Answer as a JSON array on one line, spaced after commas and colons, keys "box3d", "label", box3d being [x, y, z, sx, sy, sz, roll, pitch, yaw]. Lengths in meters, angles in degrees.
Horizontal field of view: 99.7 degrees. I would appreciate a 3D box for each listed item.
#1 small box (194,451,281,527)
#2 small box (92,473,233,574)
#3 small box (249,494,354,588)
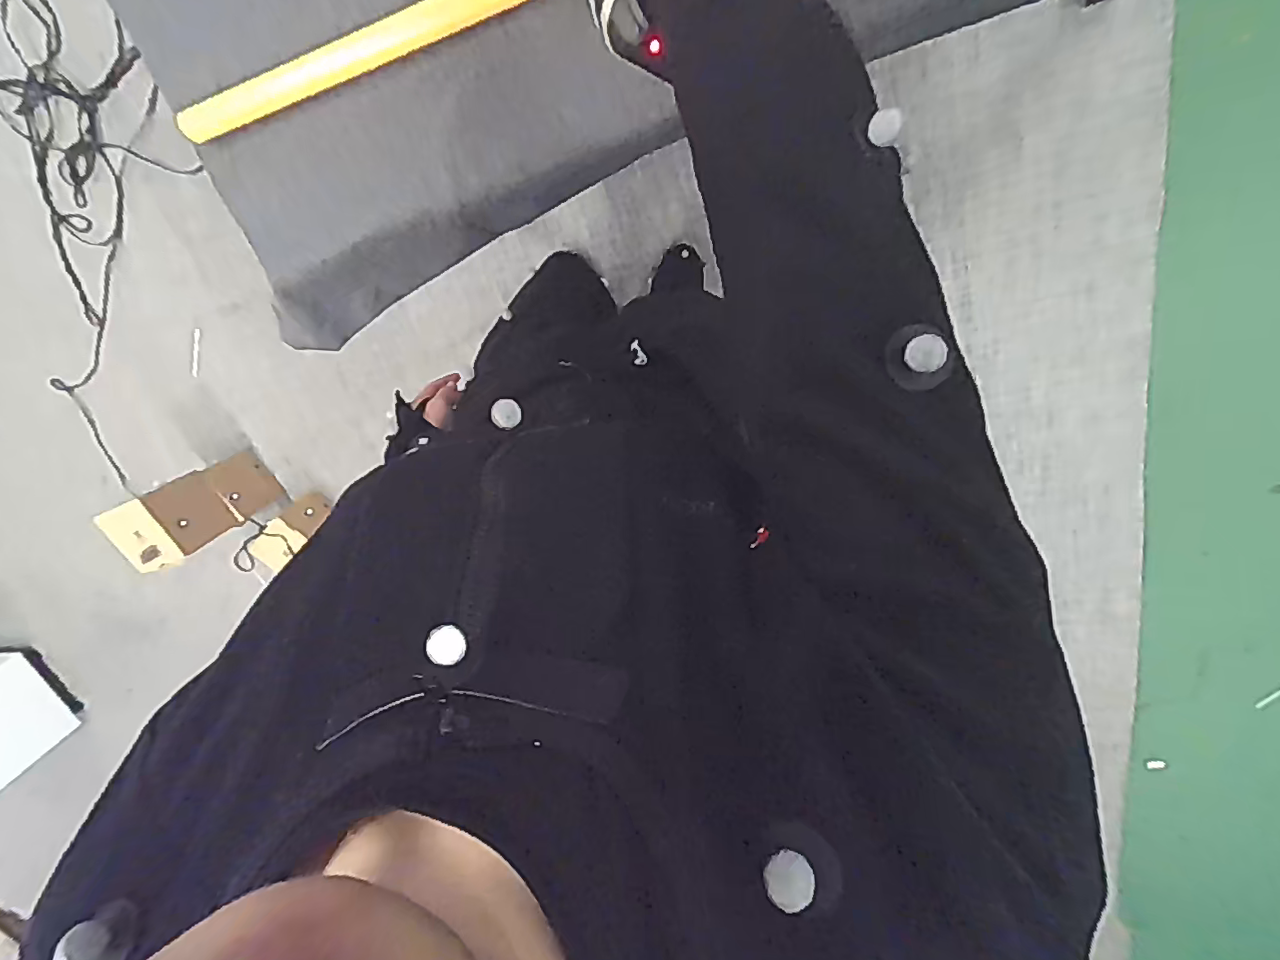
[{"box3d": [-1.176, 0.042, 1.531, 0.179, 0.176, 0.168, -23, 111, 18], "label": "small box"}, {"box3d": [-1.204, 0.108, 1.381, 0.168, 0.176, 0.179, -18, 112, 15], "label": "small box"}, {"box3d": [-0.972, 0.171, 1.571, 0.179, 0.176, 0.168, -40, 105, 24], "label": "small box"}]
